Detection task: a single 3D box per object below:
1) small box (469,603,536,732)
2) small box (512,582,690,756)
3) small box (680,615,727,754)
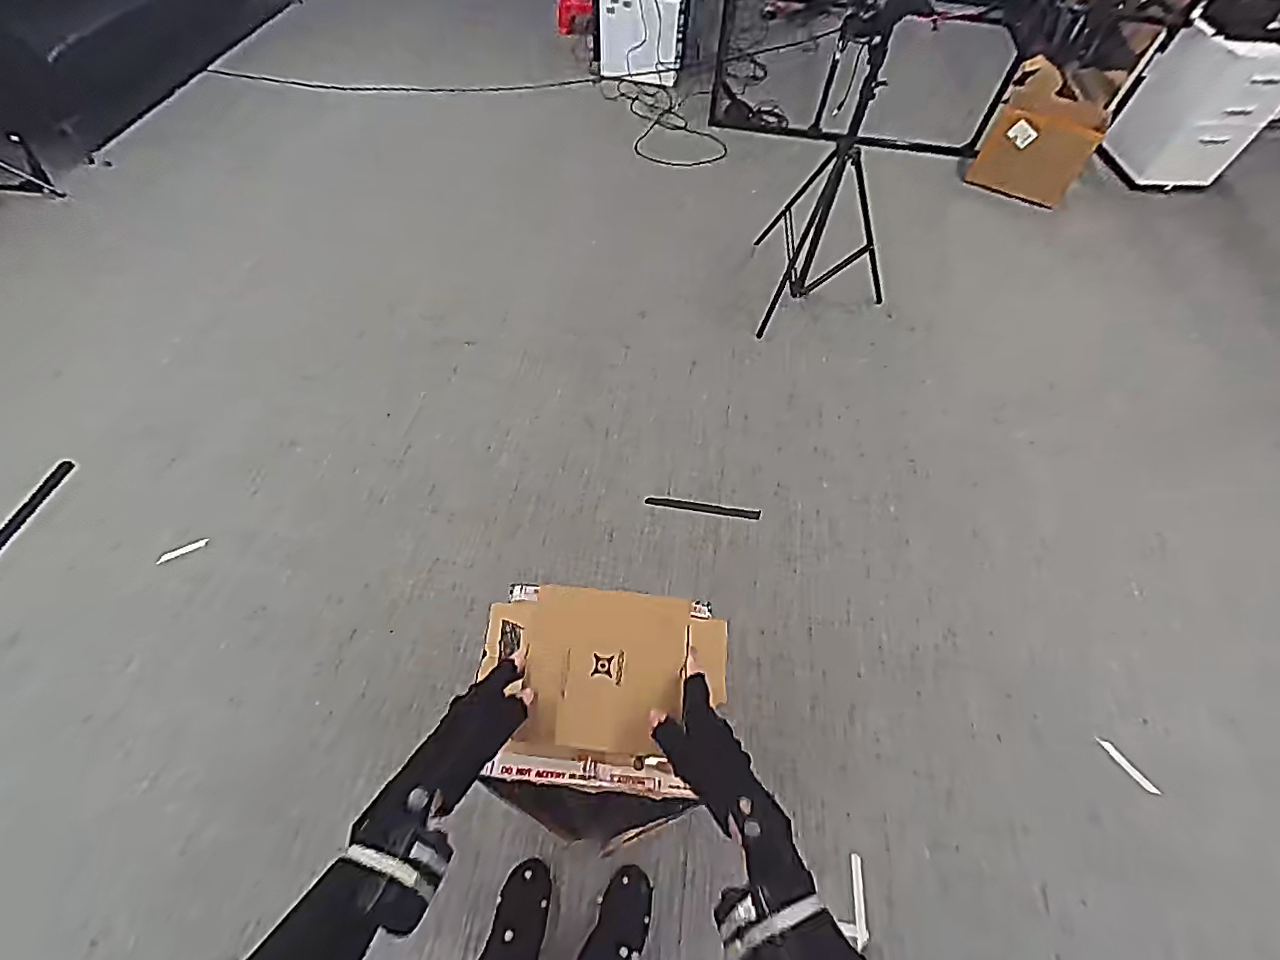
[{"bbox_3d":[-0.155,0.310,0.875,0.179,0.176,0.168,3,56,0],"label":"small box"},{"bbox_3d":[-0.037,0.233,0.651,0.179,0.176,0.168,4,61,3],"label":"small box"},{"bbox_3d":[0.042,0.328,0.874,0.168,0.176,0.179,7,56,0],"label":"small box"}]
